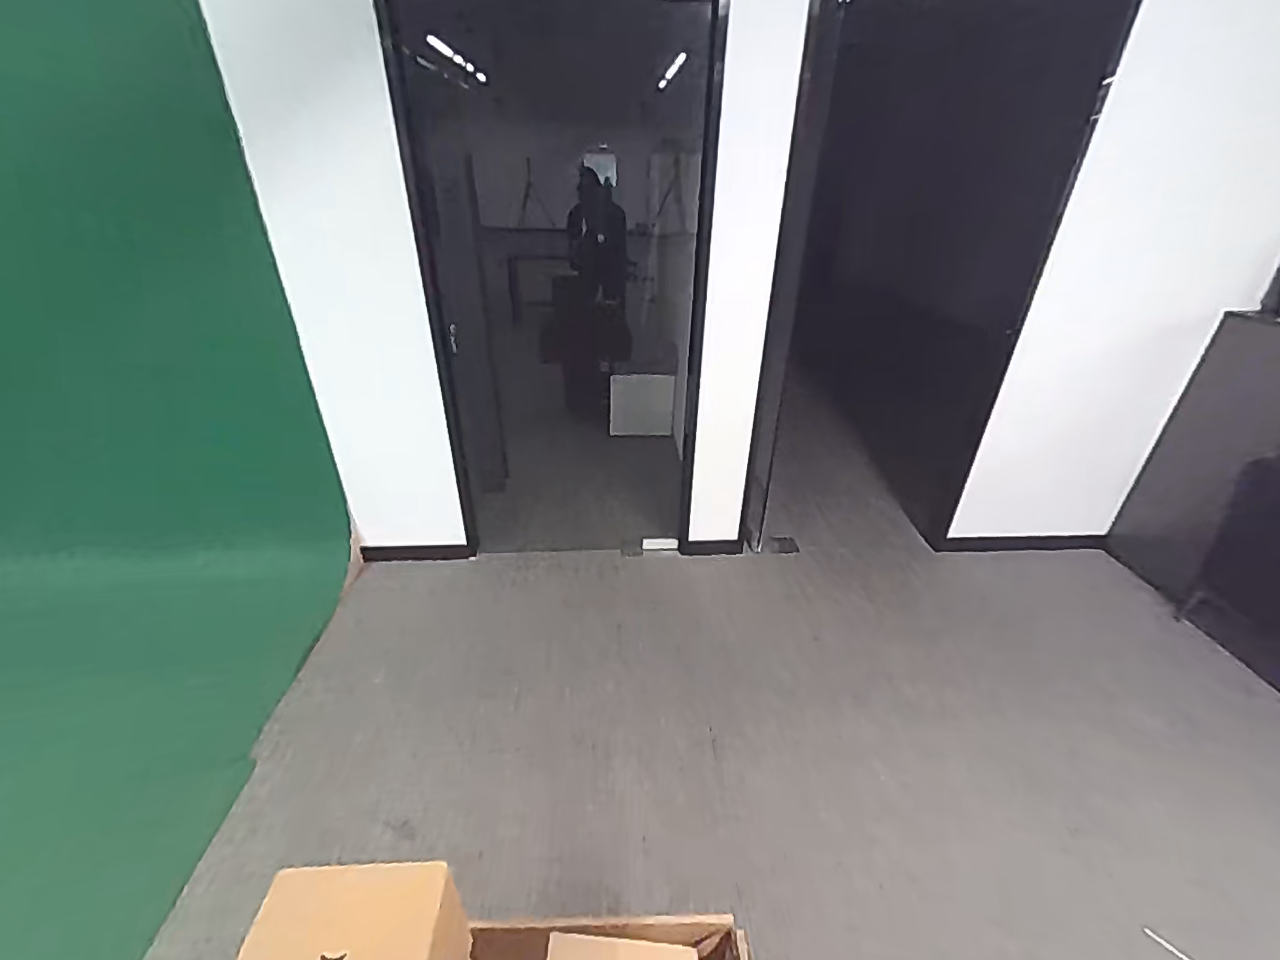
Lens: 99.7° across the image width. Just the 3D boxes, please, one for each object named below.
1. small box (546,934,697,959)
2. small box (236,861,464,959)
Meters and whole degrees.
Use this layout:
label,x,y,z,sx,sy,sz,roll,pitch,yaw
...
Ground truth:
label,x,y,z,sx,sy,sz,roll,pitch,yaw
small box,-0.034,0.646,0.596,0.179,0.176,0.168,8,31,0
small box,-0.267,0.488,0.494,0.168,0.176,0.179,0,29,-3
